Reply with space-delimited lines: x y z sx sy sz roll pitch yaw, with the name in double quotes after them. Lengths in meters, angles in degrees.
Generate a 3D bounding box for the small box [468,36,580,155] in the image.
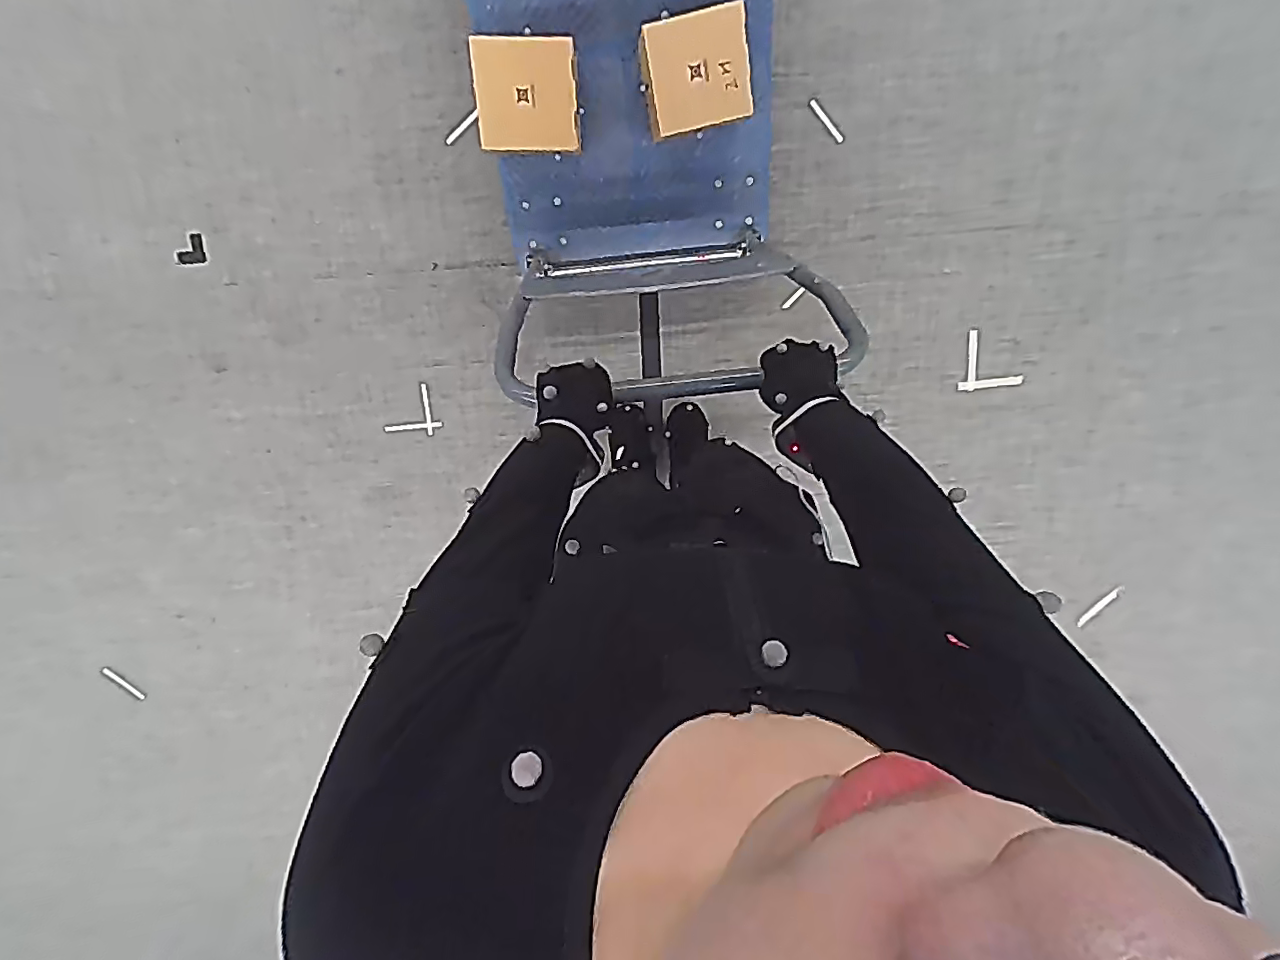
-0.207 -0.711 1.016 0.179 0.176 0.168 -3 119 -4 "small box"

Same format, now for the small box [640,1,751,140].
0.099 -0.751 1.011 0.179 0.176 0.168 -12 119 3 "small box"
